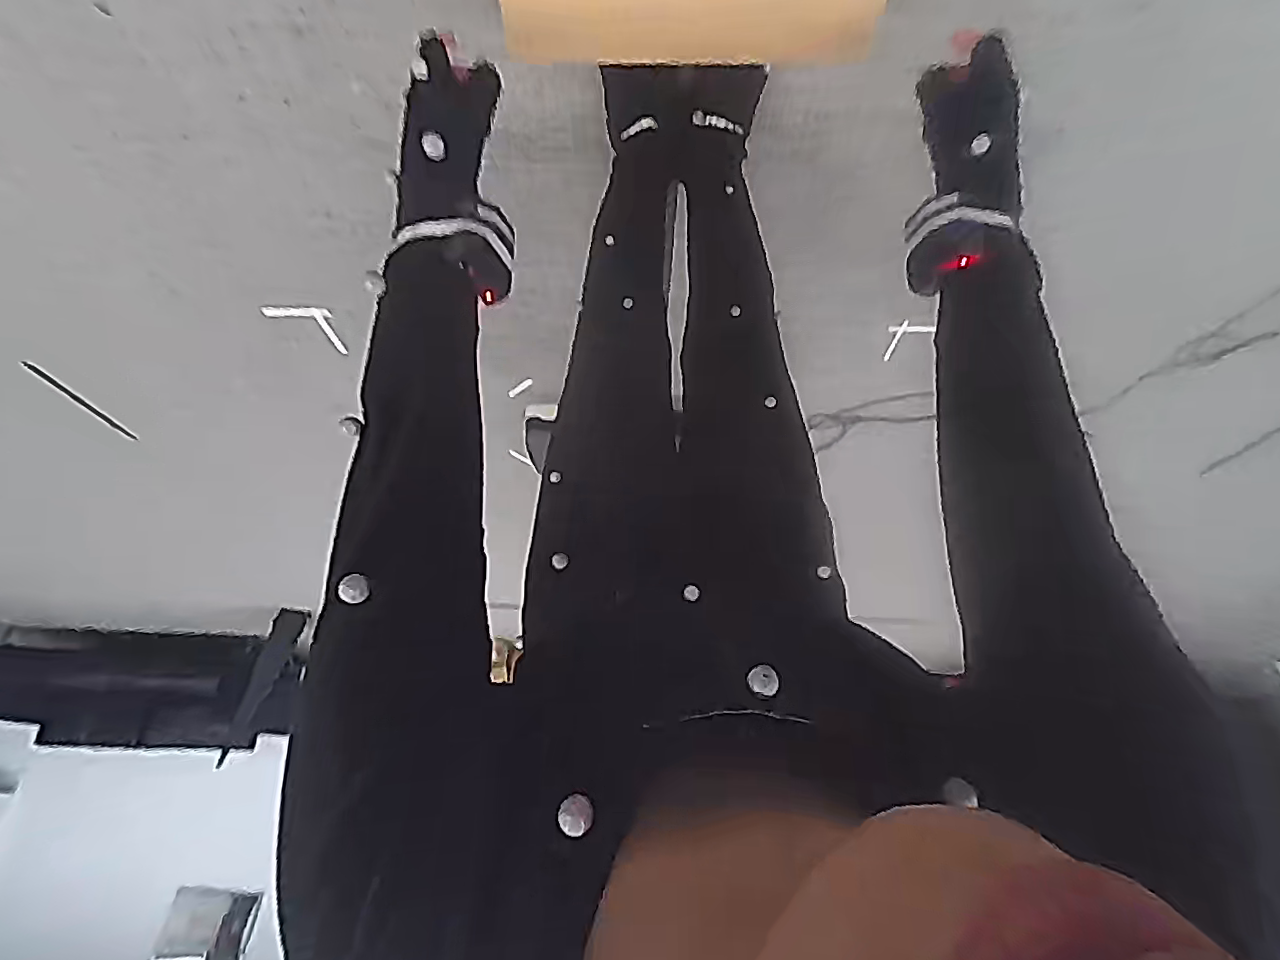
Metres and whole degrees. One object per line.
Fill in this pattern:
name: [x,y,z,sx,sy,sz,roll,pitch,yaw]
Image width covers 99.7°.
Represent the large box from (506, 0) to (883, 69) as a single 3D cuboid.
large box: [0.054,-0.680,0.560,0.408,0.320,0.320,0,150,2]
